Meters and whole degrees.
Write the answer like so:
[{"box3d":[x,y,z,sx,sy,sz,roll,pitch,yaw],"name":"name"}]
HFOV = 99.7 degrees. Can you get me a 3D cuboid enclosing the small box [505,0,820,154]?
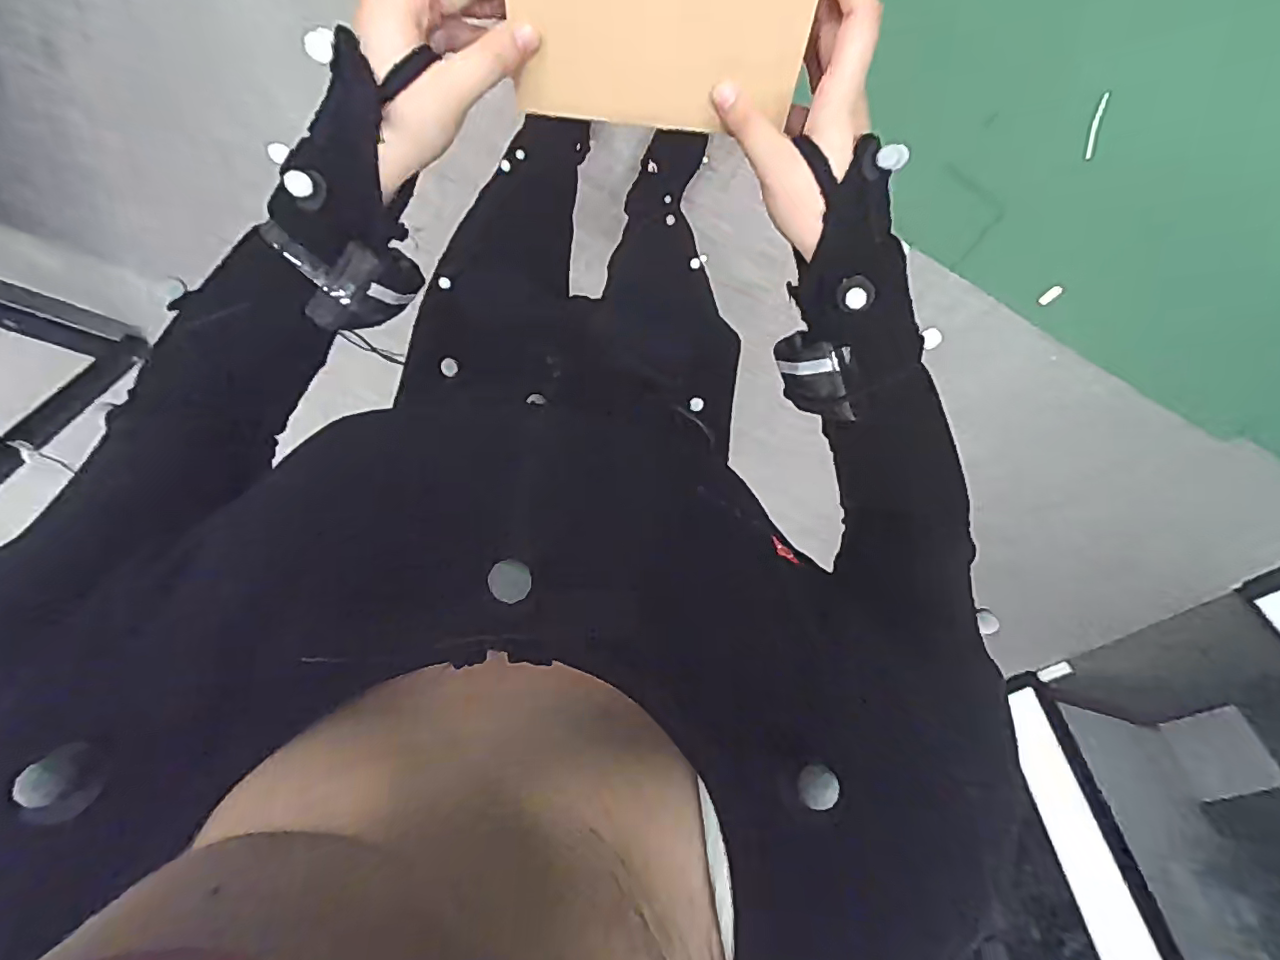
[{"box3d":[0.019,-0.324,0.307,0.168,0.176,0.179,5,146,0],"name":"small box"}]
